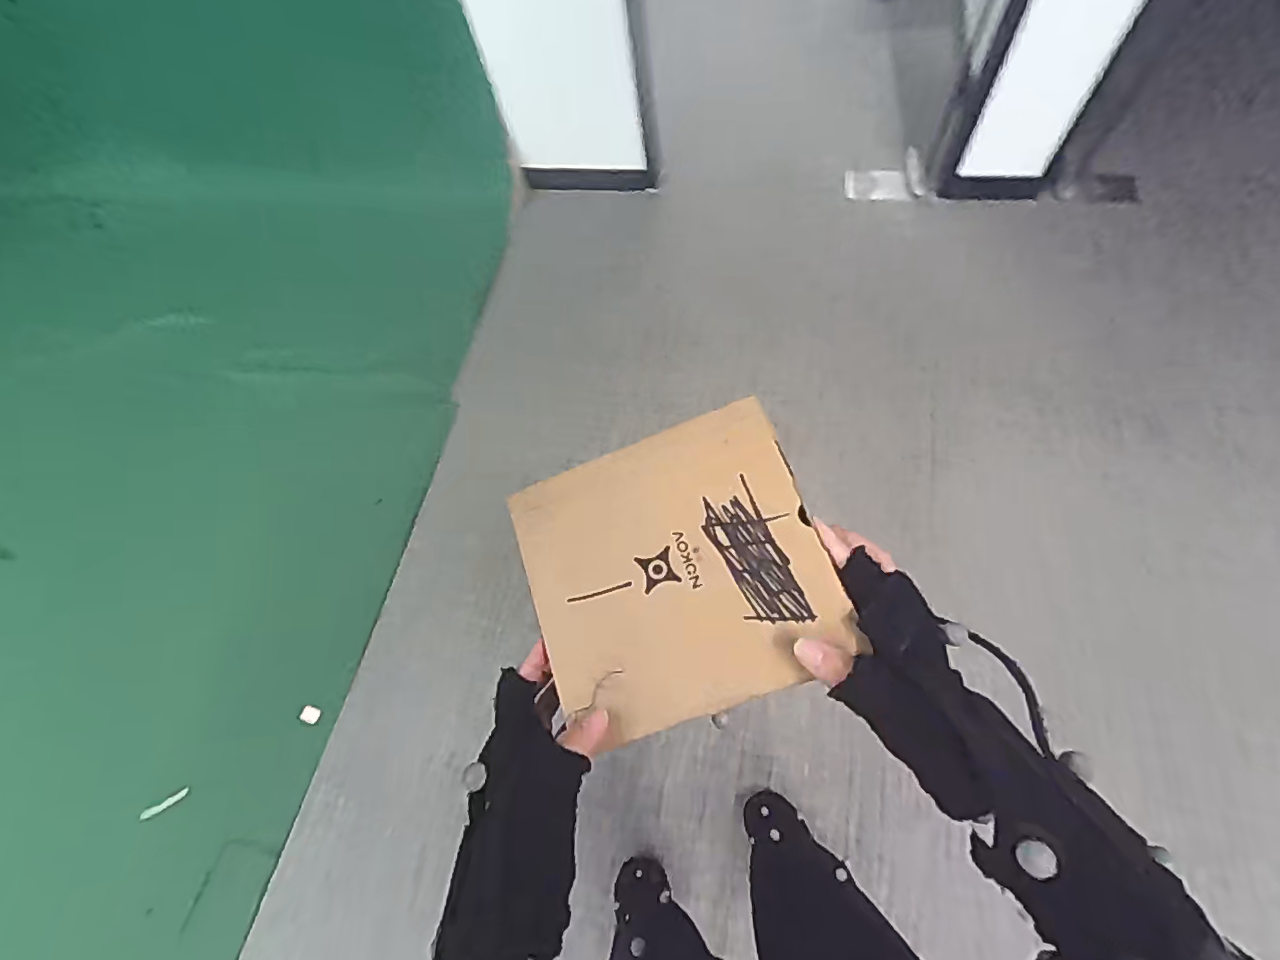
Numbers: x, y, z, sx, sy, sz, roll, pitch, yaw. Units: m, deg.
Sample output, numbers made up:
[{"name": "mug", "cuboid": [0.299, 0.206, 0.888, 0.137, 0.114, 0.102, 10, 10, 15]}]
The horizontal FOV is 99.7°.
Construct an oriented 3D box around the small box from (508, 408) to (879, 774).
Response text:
[{"name": "small box", "cuboid": [0.035, 0.080, 0.395, 0.179, 0.176, 0.168, -25, 70, 1]}]
